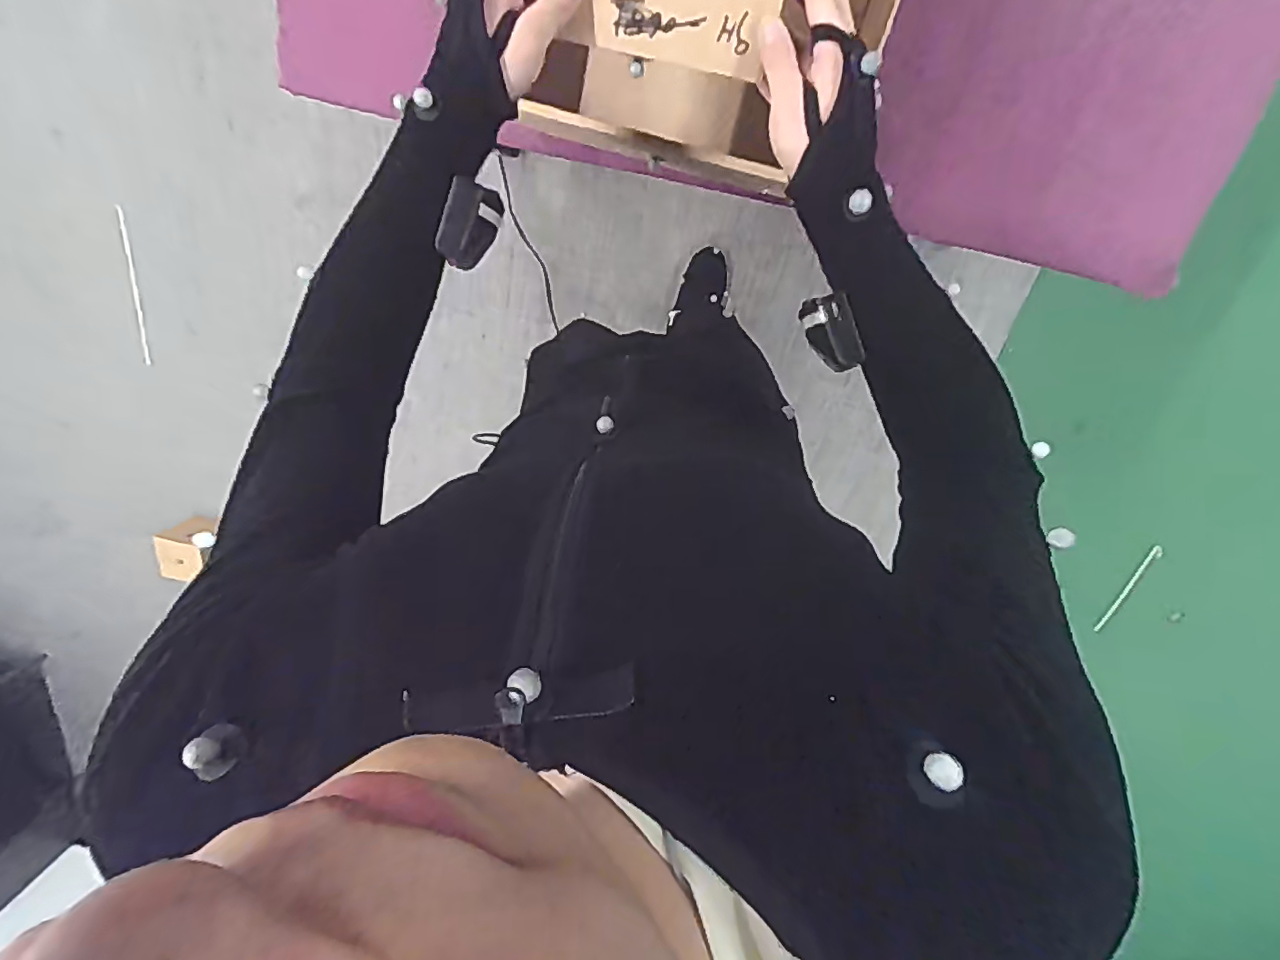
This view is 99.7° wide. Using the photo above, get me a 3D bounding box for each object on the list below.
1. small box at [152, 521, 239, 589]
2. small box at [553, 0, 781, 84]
[{"bbox_3d":[-1.587,0.264,1.948,0.179,0.176,0.168,11,113,4],"label":"small box"},{"bbox_3d":[0.038,-0.438,0.426,0.168,0.176,0.179,13,128,-1],"label":"small box"}]
